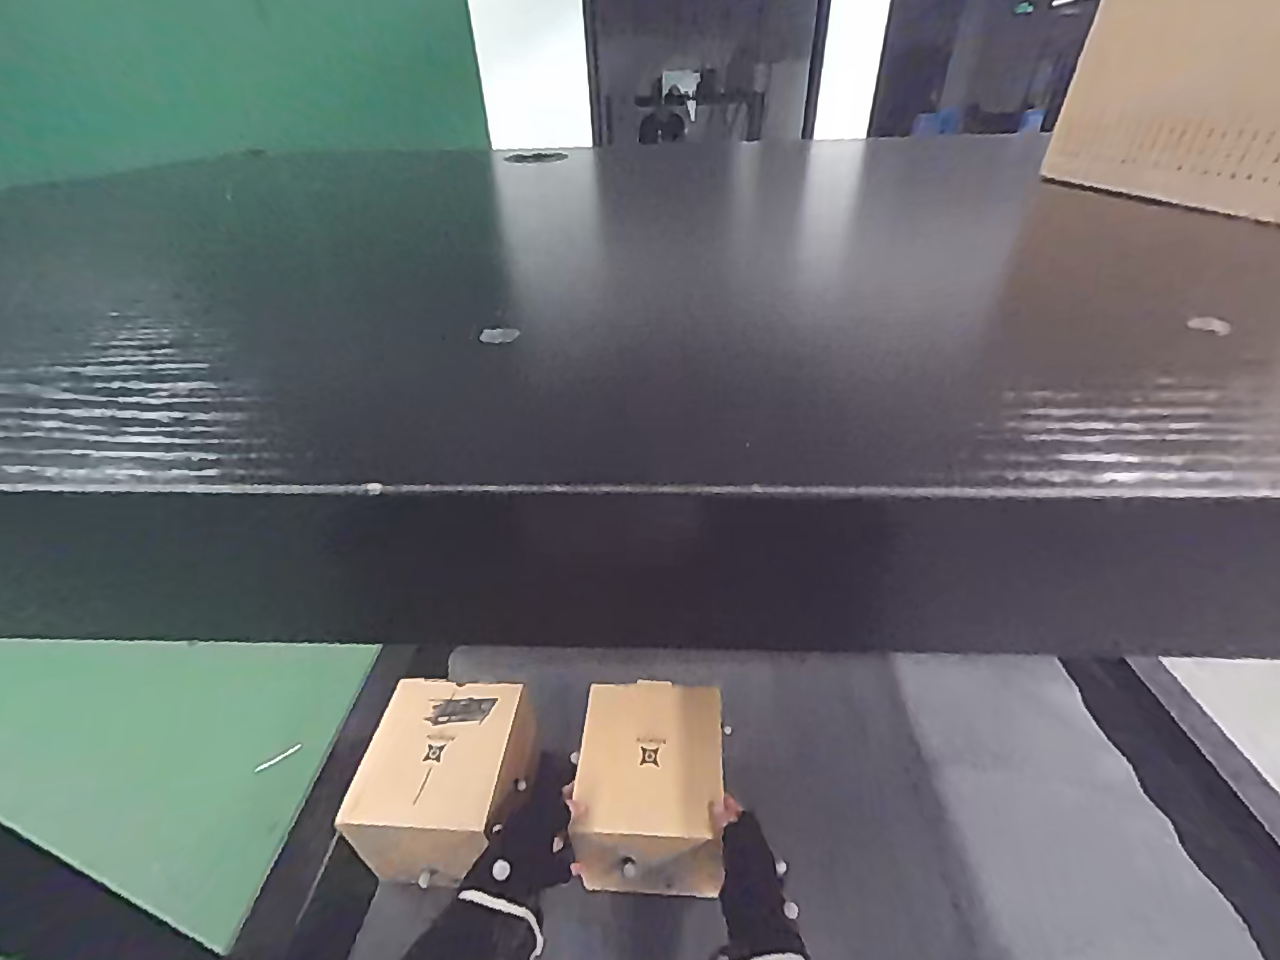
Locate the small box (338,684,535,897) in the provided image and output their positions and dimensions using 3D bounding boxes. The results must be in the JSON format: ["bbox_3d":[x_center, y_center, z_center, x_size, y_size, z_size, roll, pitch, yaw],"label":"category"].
[{"bbox_3d":[-0.235,0.386,0.682,0.168,0.176,0.179,1,36,4],"label":"small box"}]
